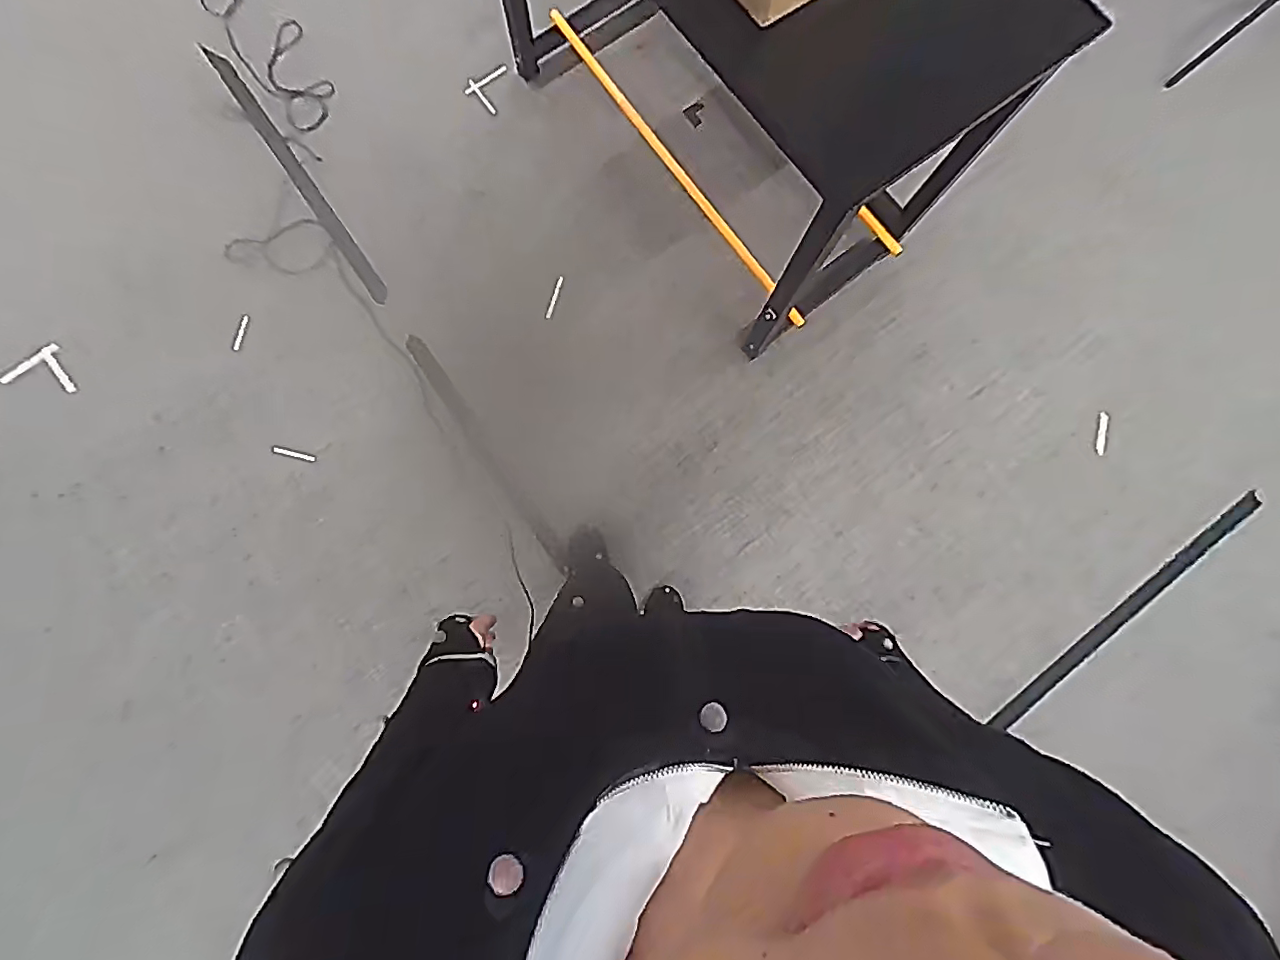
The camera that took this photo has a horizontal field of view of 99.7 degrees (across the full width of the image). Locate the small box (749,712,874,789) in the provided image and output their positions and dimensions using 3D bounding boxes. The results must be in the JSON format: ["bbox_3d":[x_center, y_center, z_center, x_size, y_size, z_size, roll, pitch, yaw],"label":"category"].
[{"bbox_3d":[0.373,0.653,1.206,0.168,0.176,0.179,-44,86,-8],"label":"small box"}]

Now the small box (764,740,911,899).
[{"bbox_3d":[0.367,0.634,1.042,0.179,0.176,0.168,43,82,4],"label":"small box"}]
